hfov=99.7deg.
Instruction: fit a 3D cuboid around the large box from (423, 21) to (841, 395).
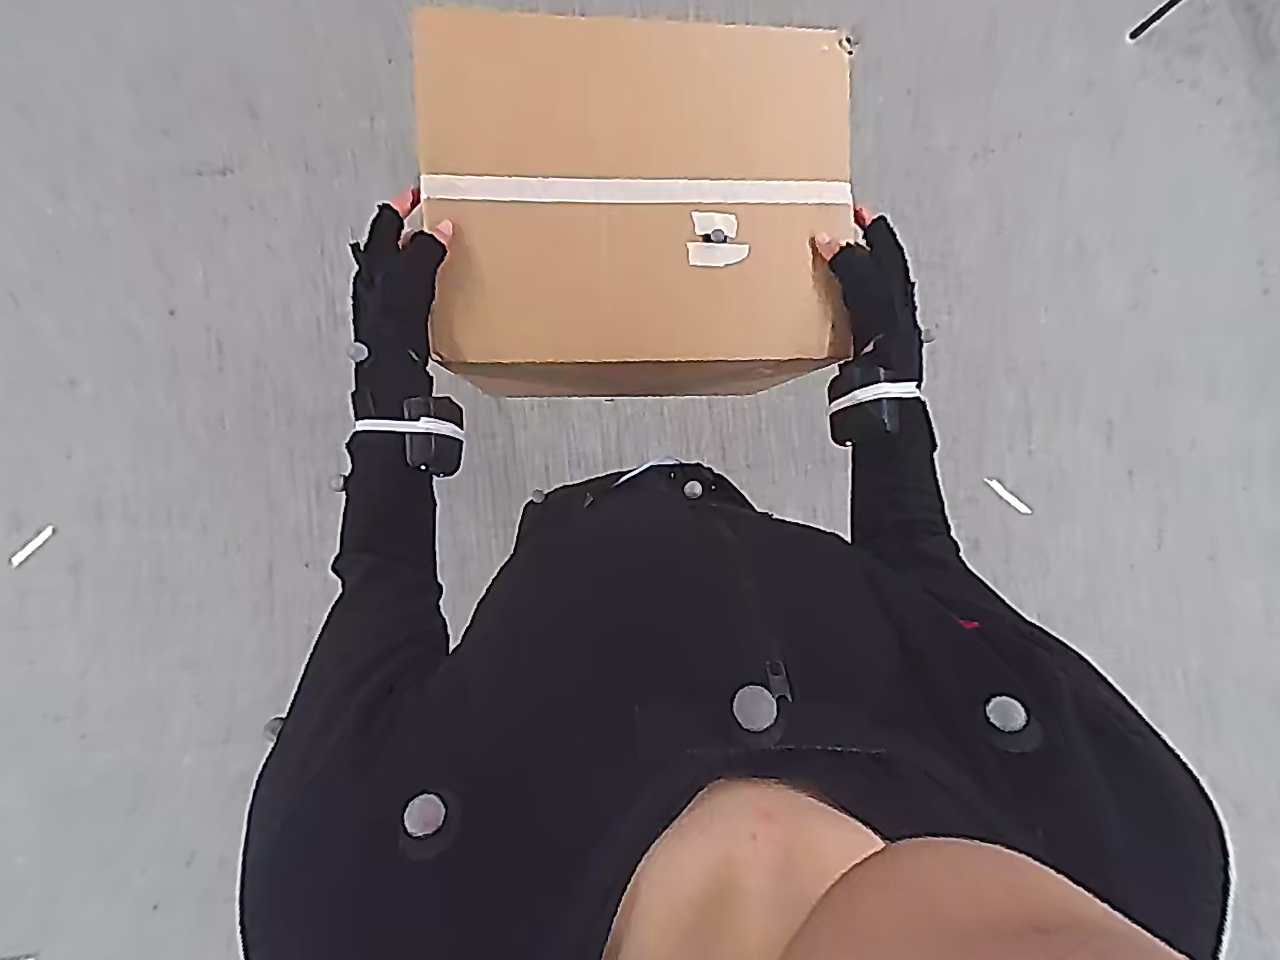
[{"bbox_3d":[-0.016,-0.281,0.669,0.408,0.320,0.320,-2,93,-7],"label":"large box"}]
